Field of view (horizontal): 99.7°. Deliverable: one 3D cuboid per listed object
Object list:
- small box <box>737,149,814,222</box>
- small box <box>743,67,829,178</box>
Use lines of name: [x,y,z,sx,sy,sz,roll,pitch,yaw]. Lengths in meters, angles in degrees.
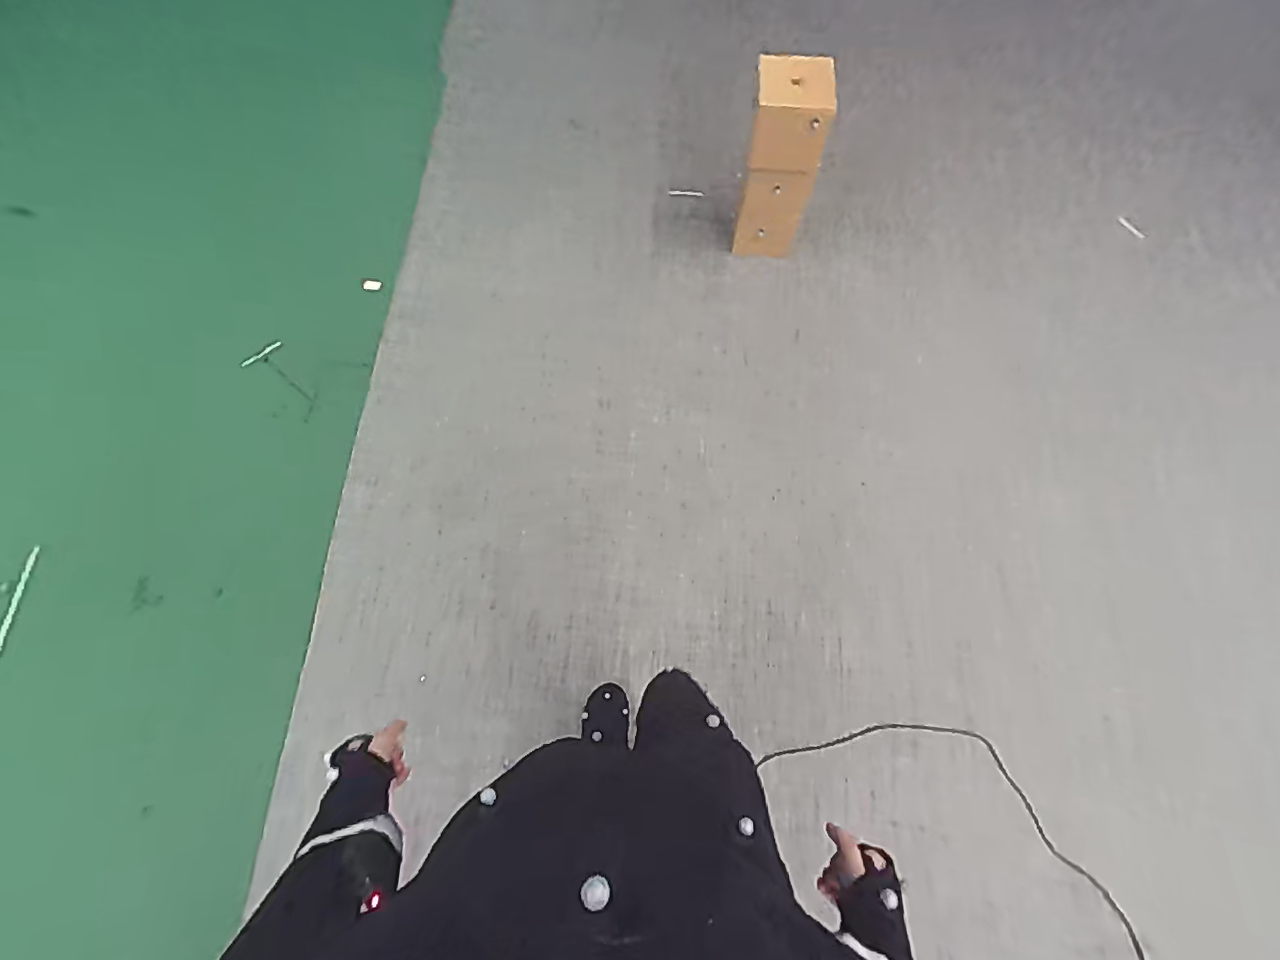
small box: [0.371,-0.845,1.506,0.179,0.176,0.168,1,72,2]
small box: [0.356,-0.883,1.347,0.179,0.176,0.168,3,72,1]
